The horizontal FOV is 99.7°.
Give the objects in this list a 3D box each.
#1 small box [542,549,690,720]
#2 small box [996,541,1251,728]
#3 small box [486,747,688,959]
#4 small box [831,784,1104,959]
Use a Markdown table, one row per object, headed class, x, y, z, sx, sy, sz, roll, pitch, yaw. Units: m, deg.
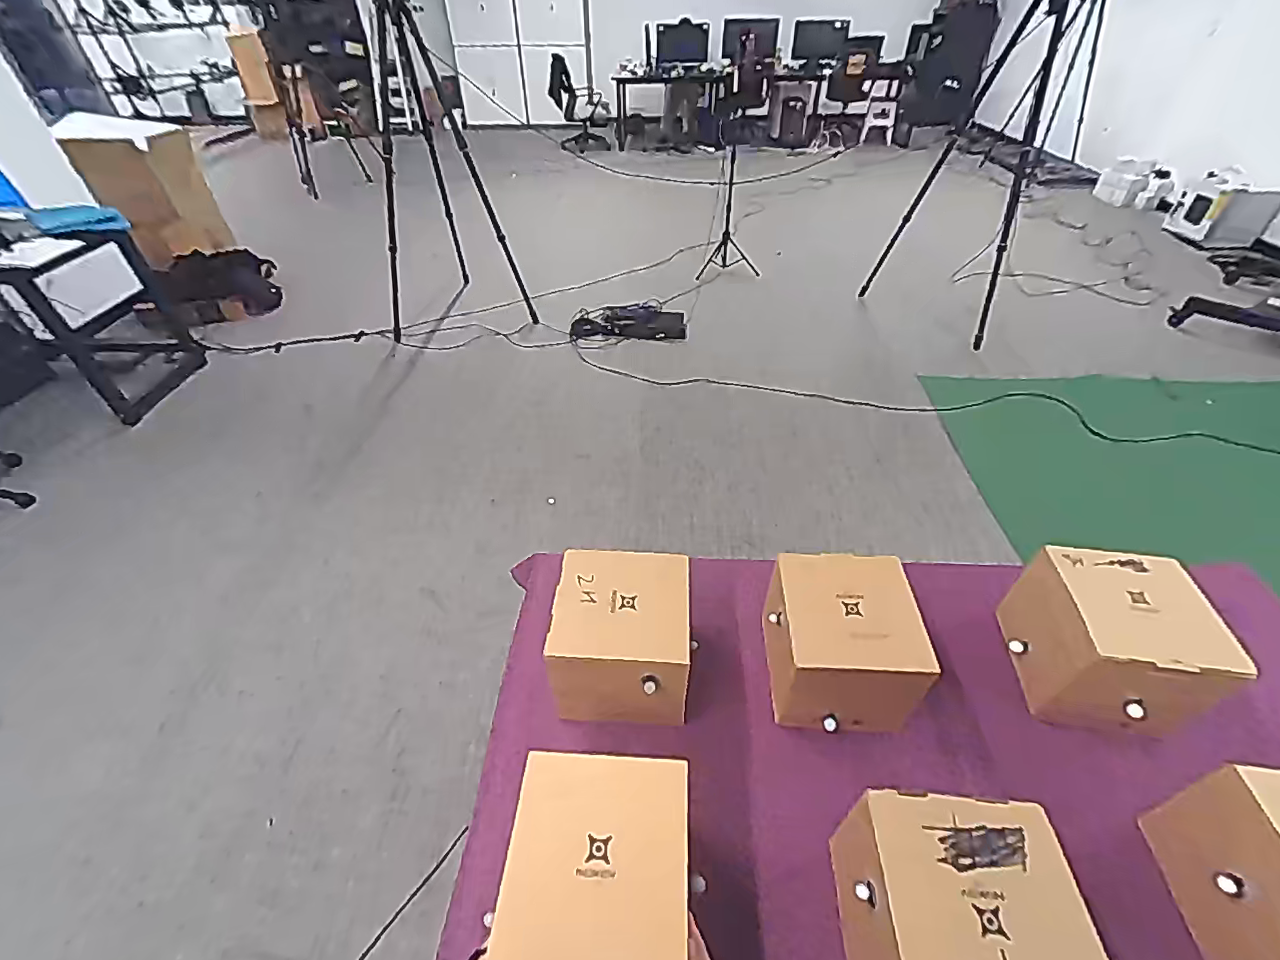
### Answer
| class | x | y | z | sx | sy | sz | roll | pitch | yaw |
| --- | --- | --- | --- | --- | --- | --- | --- | --- | --- |
| small box | -0.023 | 0.215 | 0.747 | 0.179 | 0.176 | 0.168 | 2 | 42 | 4 |
| small box | 0.621 | 0.209 | 0.728 | 0.168 | 0.176 | 0.179 | 6 | 43 | 8 |
| small box | -0.039 | 0.398 | 0.546 | 0.168 | 0.176 | 0.179 | 2 | 43 | 3 |
| small box | 0.290 | 0.417 | 0.508 | 0.168 | 0.176 | 0.179 | 2 | 42 | 5 |
